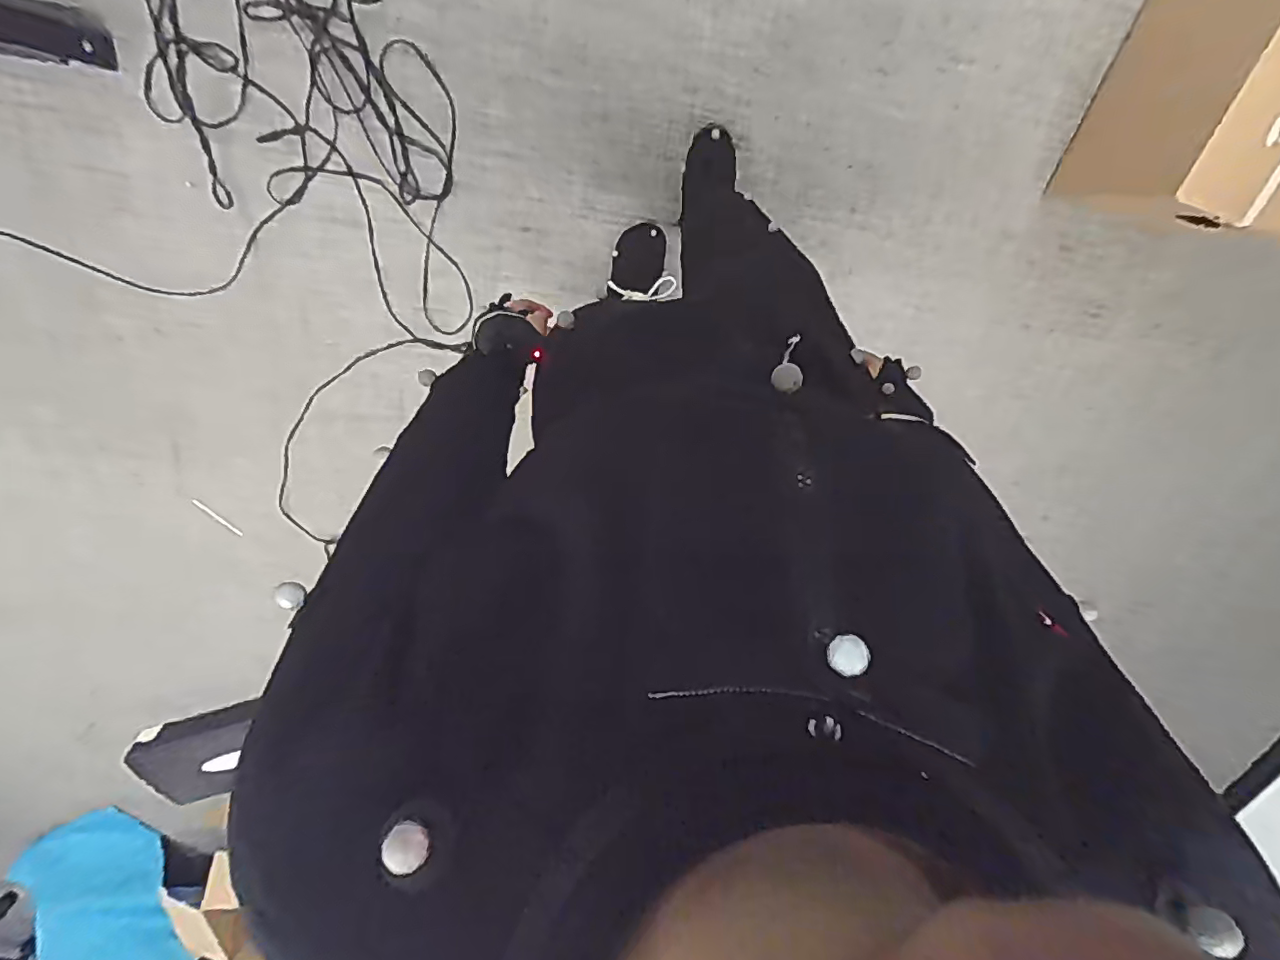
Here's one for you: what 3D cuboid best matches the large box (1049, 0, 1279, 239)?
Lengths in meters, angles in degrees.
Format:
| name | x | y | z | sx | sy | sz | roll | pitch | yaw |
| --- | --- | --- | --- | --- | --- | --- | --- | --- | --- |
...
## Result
| name | x | y | z | sx | sy | sz | roll | pitch | yaw |
| --- | --- | --- | --- | --- | --- | --- | --- | --- | --- |
| large box | 1.085 | -0.698 | 0.985 | 0.320 | 0.320 | 0.408 | 10 | 118 | -9 |
